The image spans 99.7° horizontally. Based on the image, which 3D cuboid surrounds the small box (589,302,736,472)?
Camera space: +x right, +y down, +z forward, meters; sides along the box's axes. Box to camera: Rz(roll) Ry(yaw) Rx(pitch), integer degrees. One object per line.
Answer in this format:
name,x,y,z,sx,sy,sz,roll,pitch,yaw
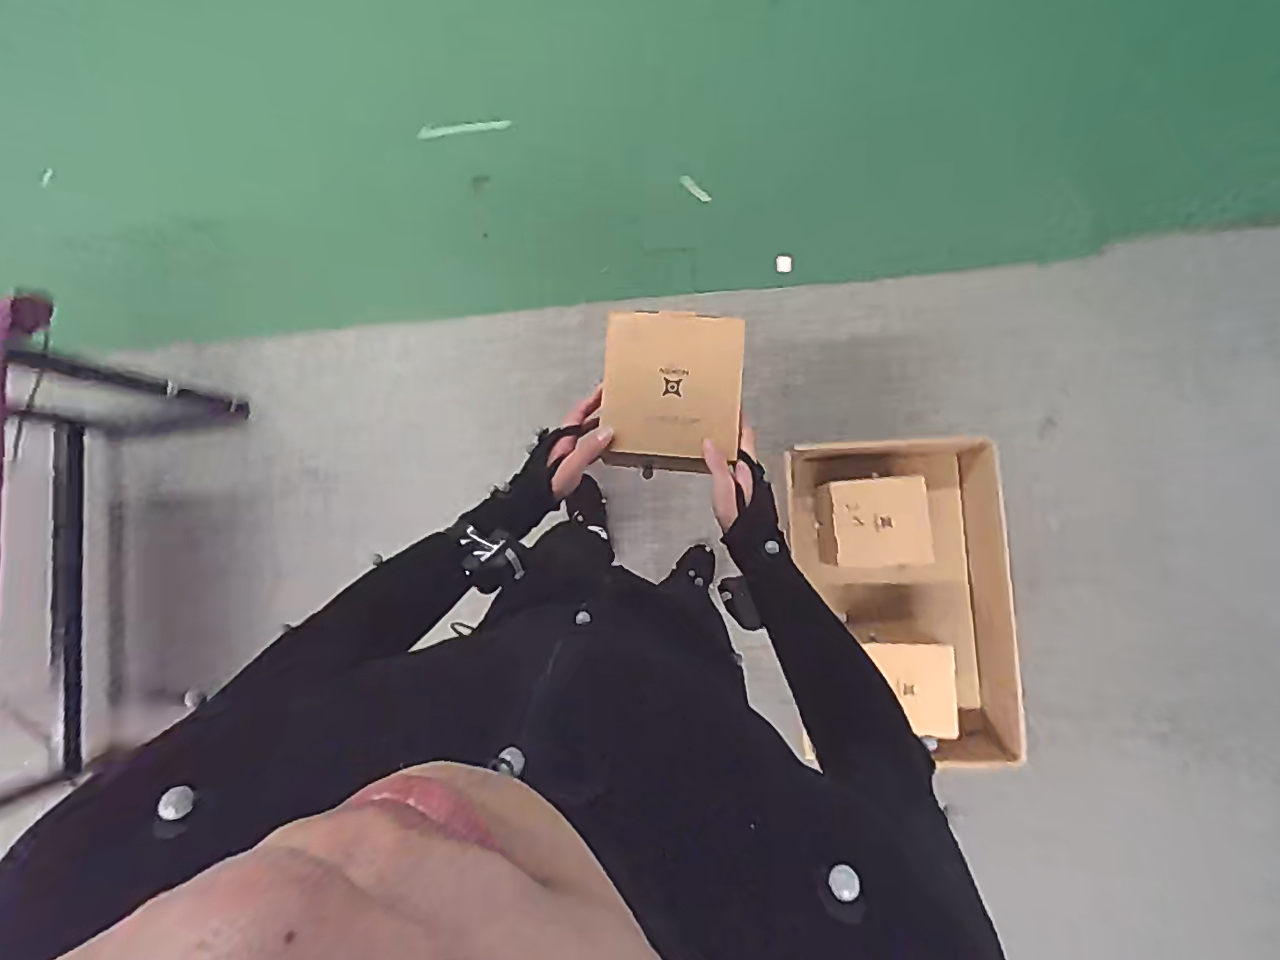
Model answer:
small box,0.025,-0.112,0.710,0.168,0.176,0.179,4,85,-1
